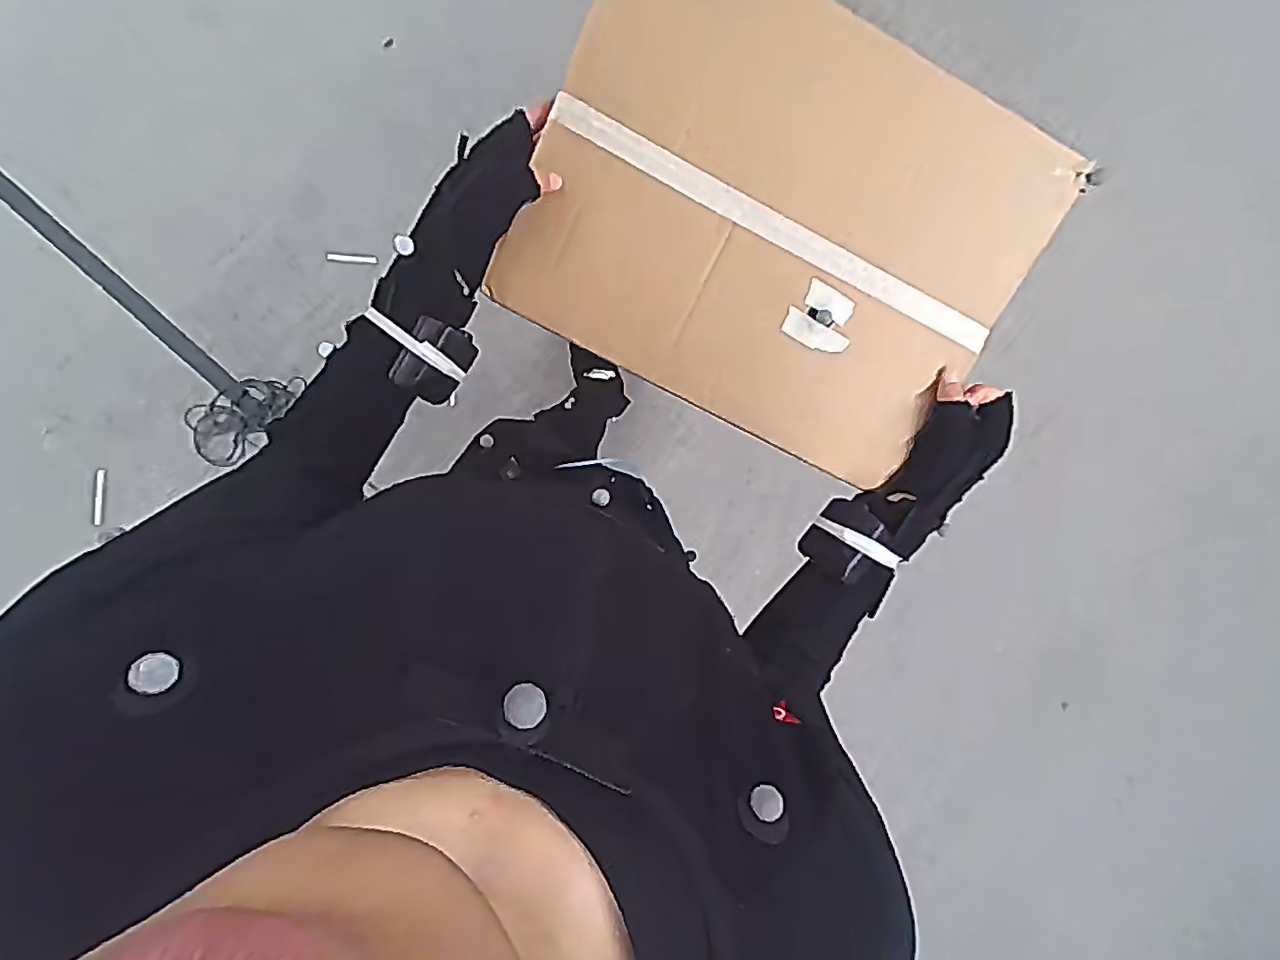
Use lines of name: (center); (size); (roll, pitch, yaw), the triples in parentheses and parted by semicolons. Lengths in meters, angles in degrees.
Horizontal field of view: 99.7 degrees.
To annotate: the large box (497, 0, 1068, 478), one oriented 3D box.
large box: (0.113, -0.250, 0.604); (0.408, 0.320, 0.320); (26, 103, -7)
